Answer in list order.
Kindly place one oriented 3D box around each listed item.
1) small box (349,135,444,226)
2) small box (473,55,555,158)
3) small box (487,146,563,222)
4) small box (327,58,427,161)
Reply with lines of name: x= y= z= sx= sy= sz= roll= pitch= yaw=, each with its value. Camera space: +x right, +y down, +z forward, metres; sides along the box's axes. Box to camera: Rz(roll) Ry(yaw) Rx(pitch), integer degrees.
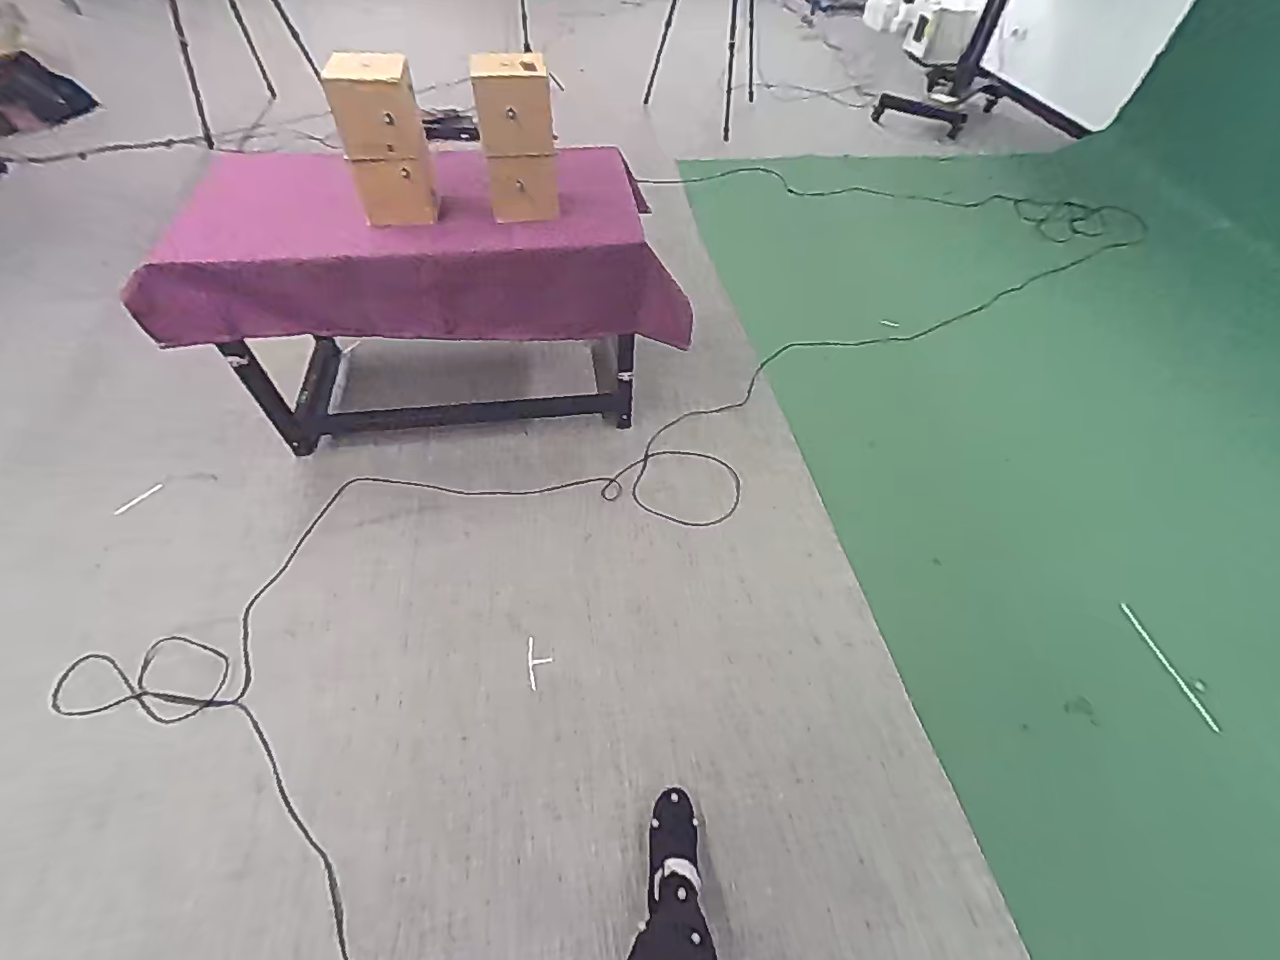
small box: x=-0.635 y=-0.790 z=1.431 sx=0.179 sy=0.176 sz=0.168 roll=-4 pitch=52 yaw=-7
small box: x=-0.305 y=-0.917 z=1.330 sx=0.179 sy=0.176 sz=0.168 roll=-7 pitch=52 yaw=-7
small box: x=-0.310 y=-0.819 z=1.462 sx=0.179 sy=0.176 sz=0.168 roll=-8 pitch=53 yaw=-8
small box: x=-0.622 y=-0.891 z=1.303 sx=0.168 sy=0.176 sz=0.179 roll=-5 pitch=52 yaw=-8
